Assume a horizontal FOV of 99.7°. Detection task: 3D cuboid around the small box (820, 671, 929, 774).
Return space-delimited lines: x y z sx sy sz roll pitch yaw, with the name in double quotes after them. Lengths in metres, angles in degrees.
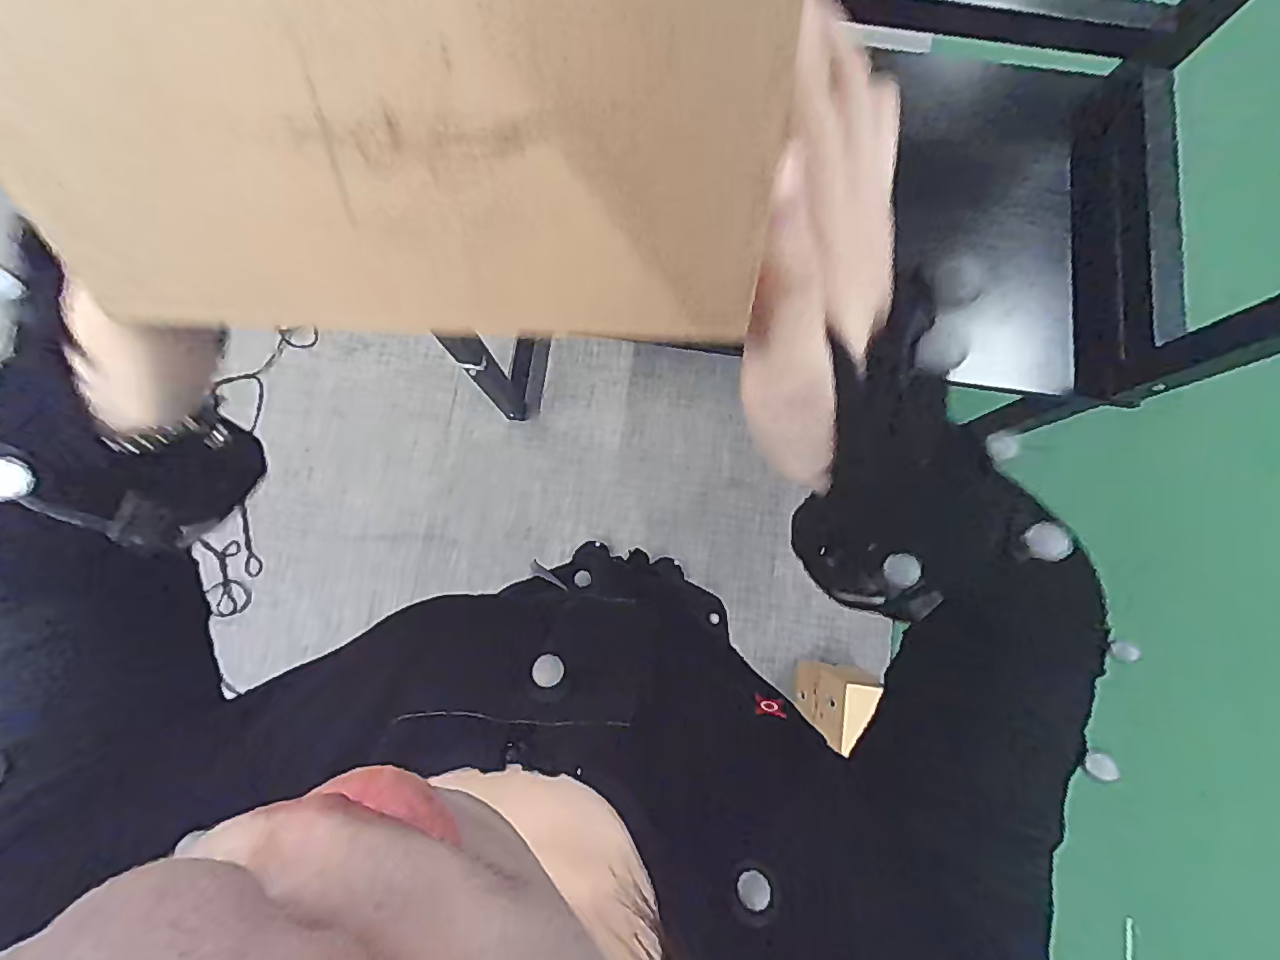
0.520 0.535 1.218 0.179 0.176 0.168 8 80 0 "small box"
